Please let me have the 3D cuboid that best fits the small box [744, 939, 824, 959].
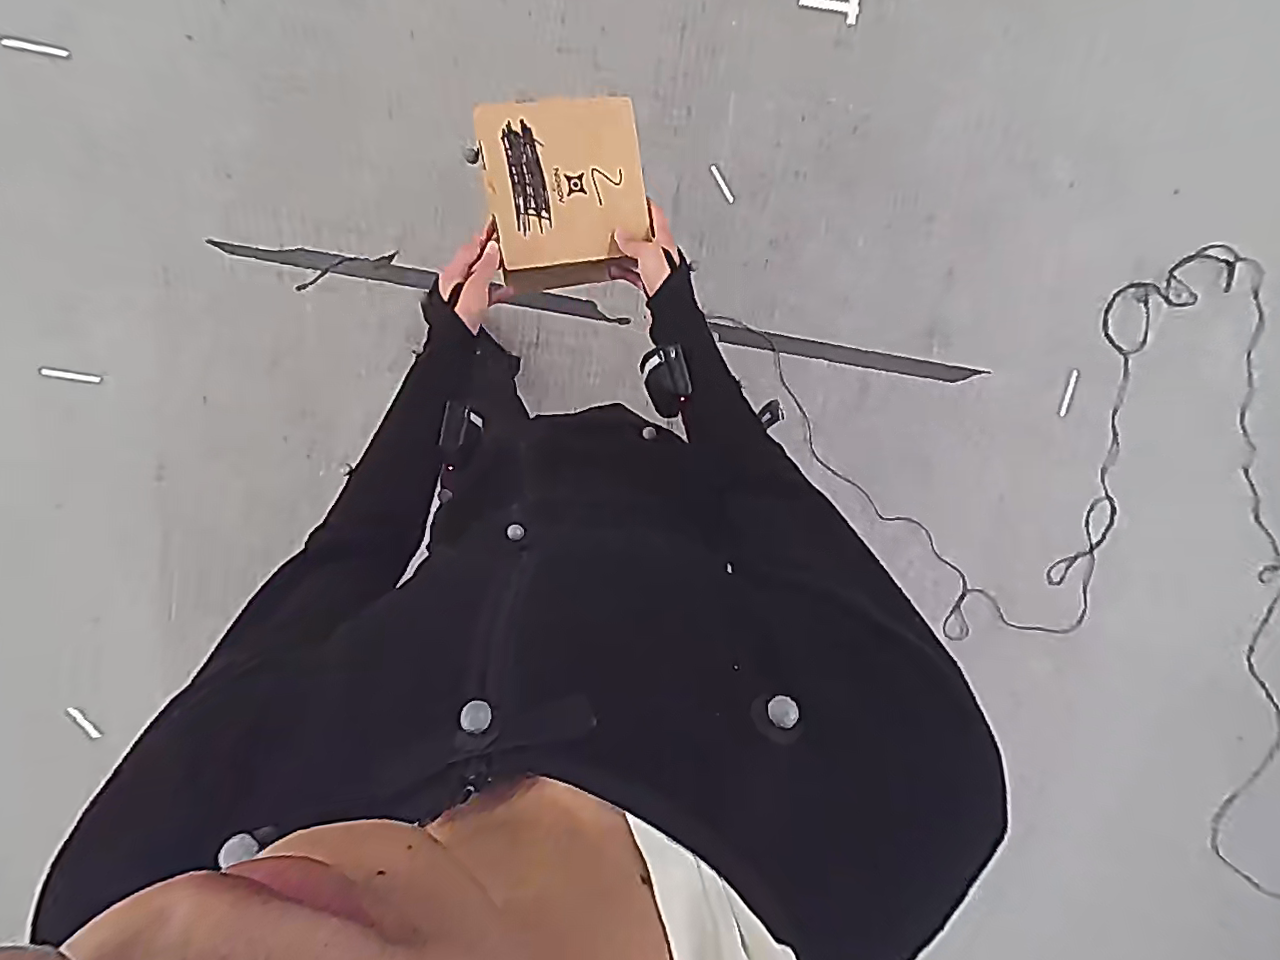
[{"bbox_3d":[0.284,1.028,1.026,0.168,0.176,0.179,14,101,-5],"label":"small box"}]
